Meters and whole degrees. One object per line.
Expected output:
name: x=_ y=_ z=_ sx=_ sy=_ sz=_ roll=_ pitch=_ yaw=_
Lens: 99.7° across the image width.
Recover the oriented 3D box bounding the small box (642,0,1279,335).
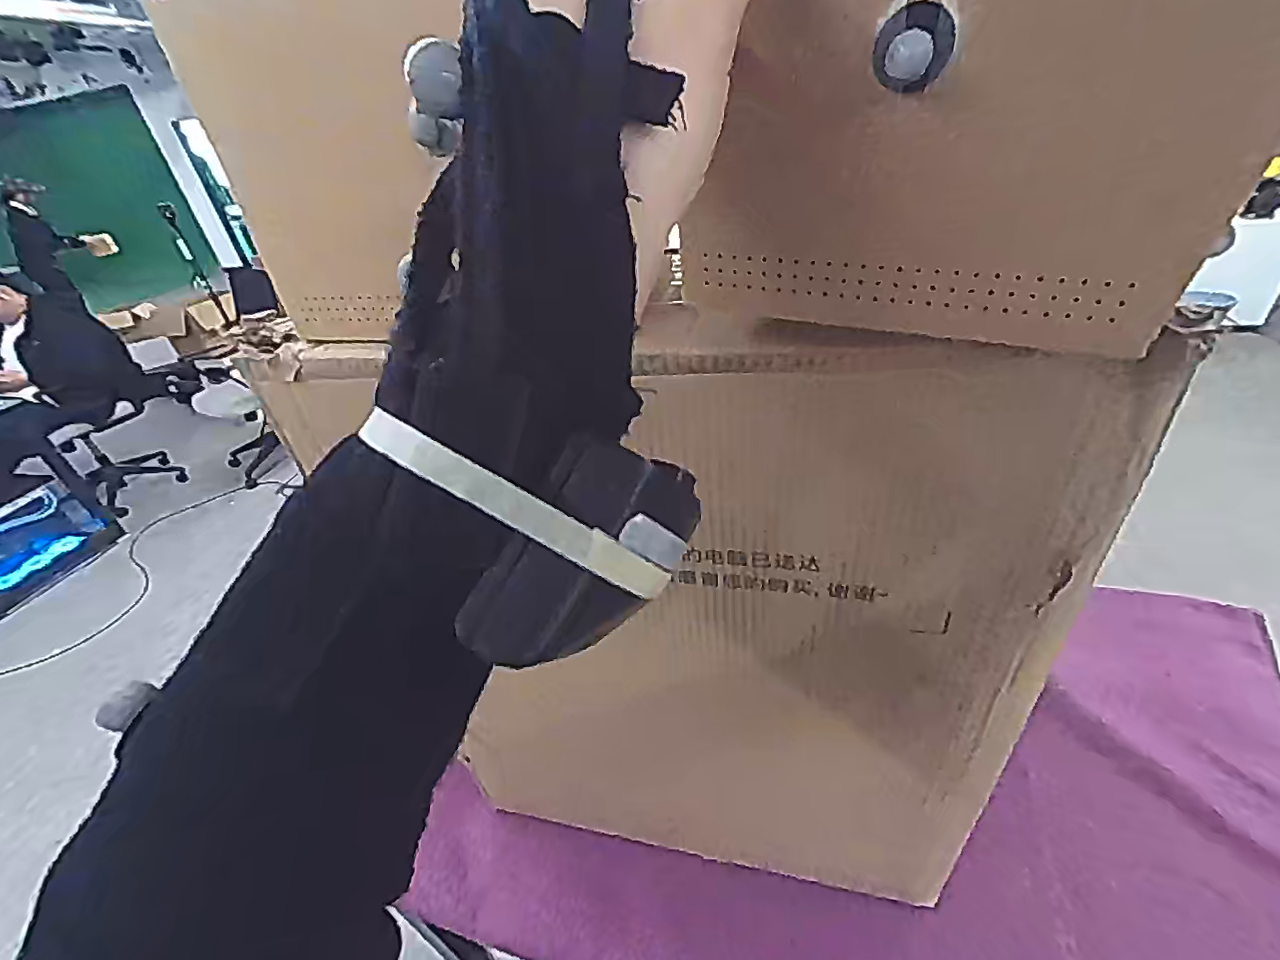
small box: x=0.114 y=-0.174 z=0.204 sx=0.179 sy=0.176 sz=0.168 roll=13 pitch=51 yaw=22
